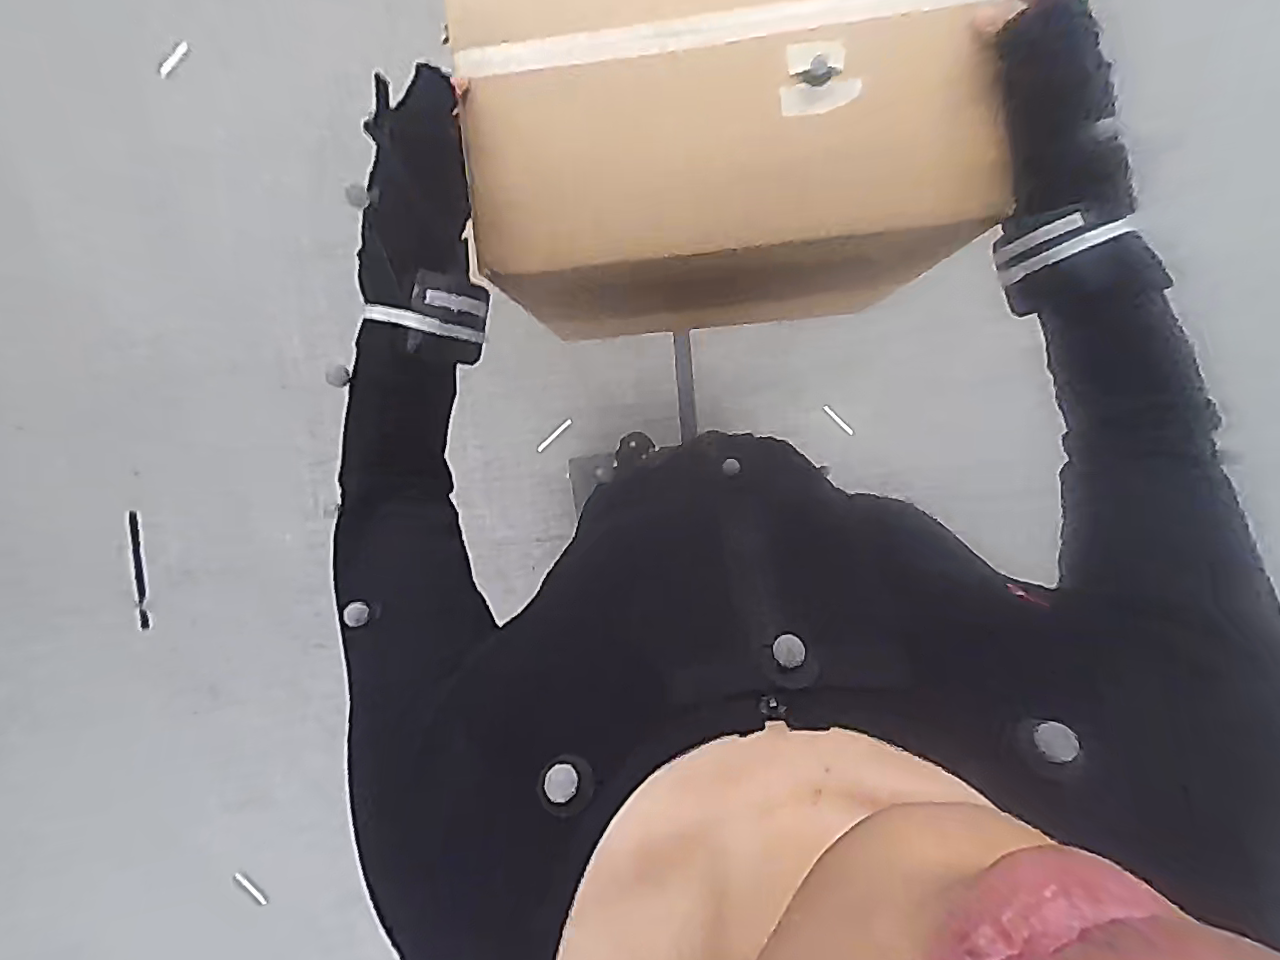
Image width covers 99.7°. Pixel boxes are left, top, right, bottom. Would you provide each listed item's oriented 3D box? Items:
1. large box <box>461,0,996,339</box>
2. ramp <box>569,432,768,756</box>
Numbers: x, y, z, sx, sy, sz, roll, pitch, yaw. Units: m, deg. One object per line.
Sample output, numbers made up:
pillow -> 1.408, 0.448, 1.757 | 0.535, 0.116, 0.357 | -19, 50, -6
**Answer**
large box -> 0.068, -0.350, 0.565 | 0.408, 0.320, 0.320 | -5, 95, 4
ramp -> 0.105, 0.371, 1.598 | 0.509, 0.206, 0.991 | -8, 93, 3
